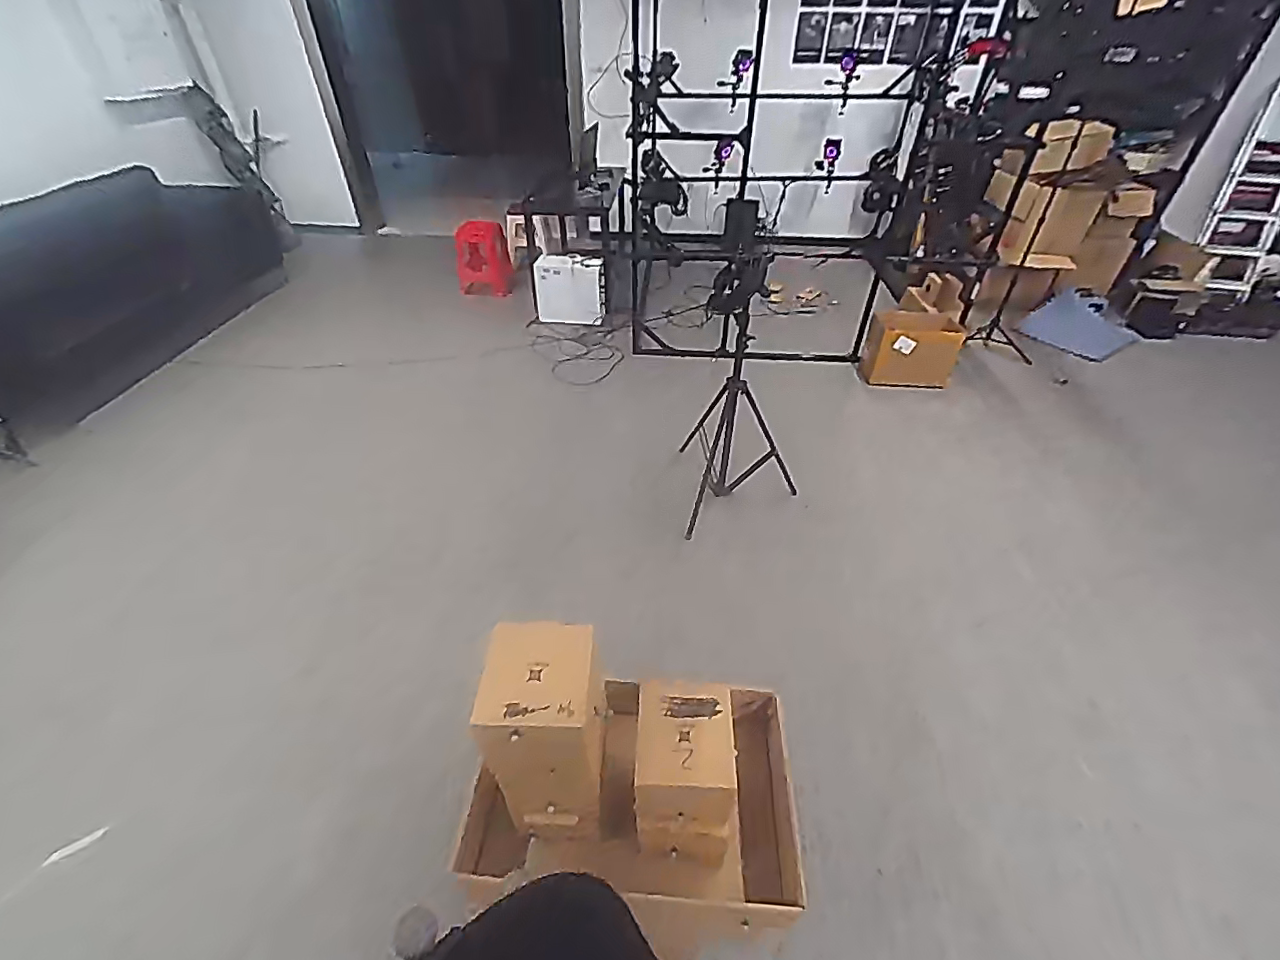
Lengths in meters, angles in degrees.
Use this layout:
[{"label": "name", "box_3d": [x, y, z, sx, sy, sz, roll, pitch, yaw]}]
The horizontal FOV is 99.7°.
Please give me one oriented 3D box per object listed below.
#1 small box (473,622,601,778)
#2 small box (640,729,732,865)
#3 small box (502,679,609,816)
[{"label": "small box", "box_3d": [-0.154, 0.355, 0.879, 0.168, 0.176, 0.179, 1, 39, 2]}, {"label": "small box", "box_3d": [0.091, 0.625, 1.067, 0.168, 0.176, 0.179, 3, 41, 6]}, {"label": "small box", "box_3d": [-0.146, 0.481, 0.984, 0.168, 0.176, 0.179, 1, 40, 2]}]
